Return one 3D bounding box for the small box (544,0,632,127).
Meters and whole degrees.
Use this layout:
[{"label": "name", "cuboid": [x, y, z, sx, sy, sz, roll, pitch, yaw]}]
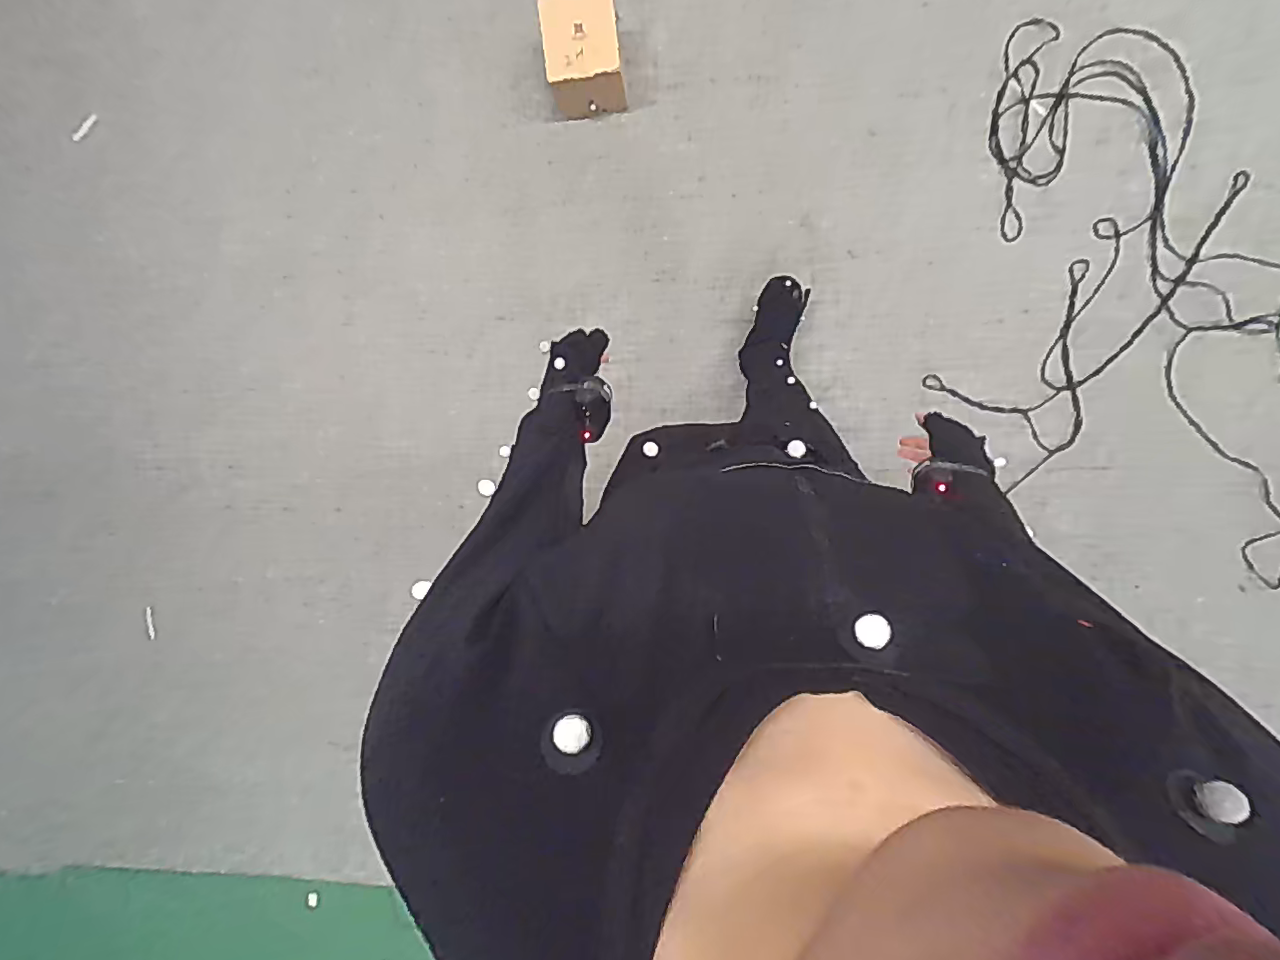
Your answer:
[{"label": "small box", "cuboid": [-0.115, -0.965, 1.257, 0.168, 0.176, 0.179, -5, 97, 6]}]
